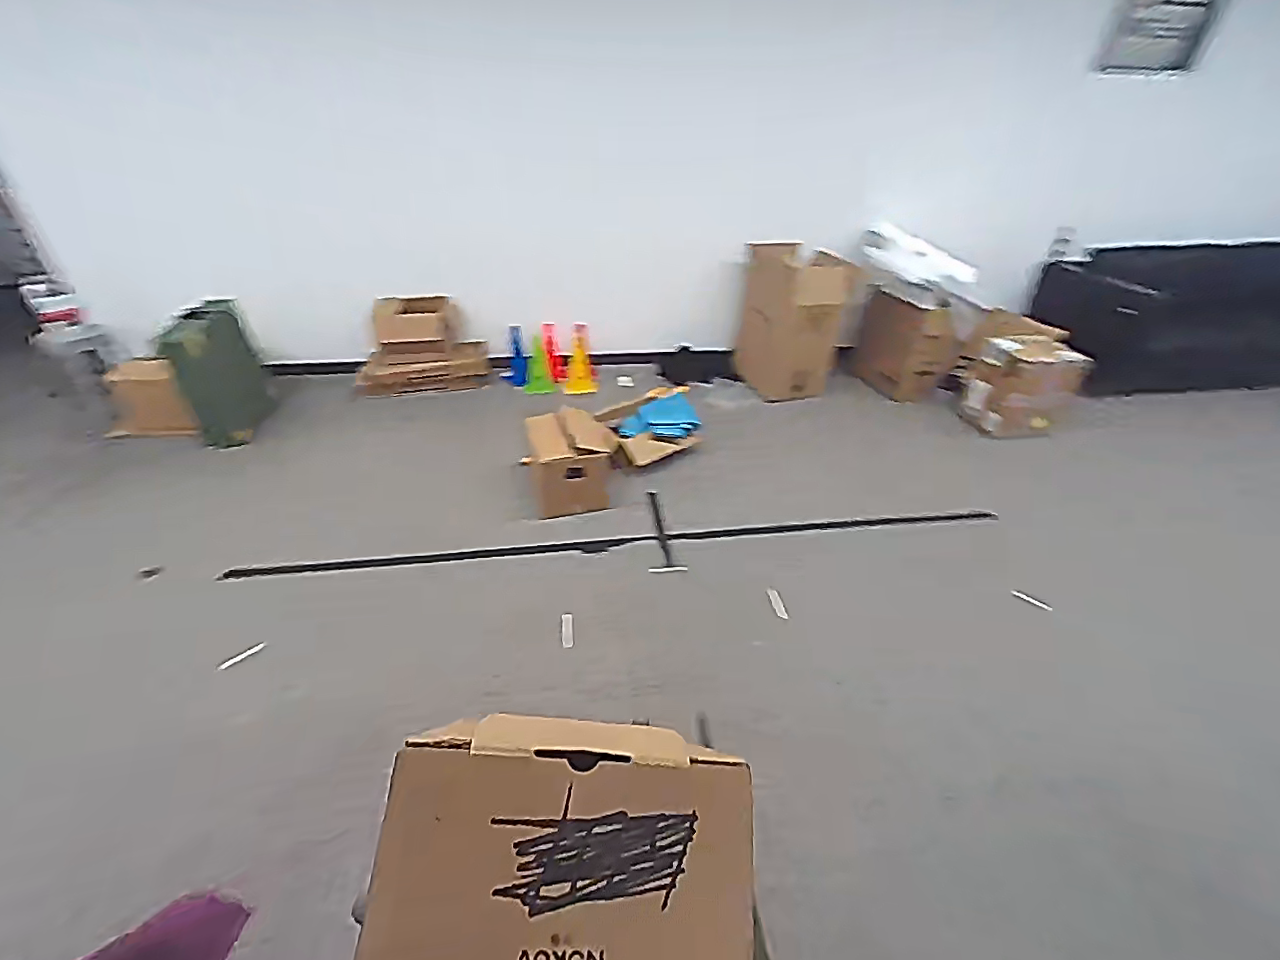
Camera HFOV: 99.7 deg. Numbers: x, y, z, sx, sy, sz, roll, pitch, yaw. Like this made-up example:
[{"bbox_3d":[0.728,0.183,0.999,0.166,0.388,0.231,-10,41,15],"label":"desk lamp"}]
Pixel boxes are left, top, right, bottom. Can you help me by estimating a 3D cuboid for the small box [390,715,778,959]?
[{"bbox_3d":[-0.034,0.231,0.298,0.168,0.176,0.179,9,67,-6],"label":"small box"}]
